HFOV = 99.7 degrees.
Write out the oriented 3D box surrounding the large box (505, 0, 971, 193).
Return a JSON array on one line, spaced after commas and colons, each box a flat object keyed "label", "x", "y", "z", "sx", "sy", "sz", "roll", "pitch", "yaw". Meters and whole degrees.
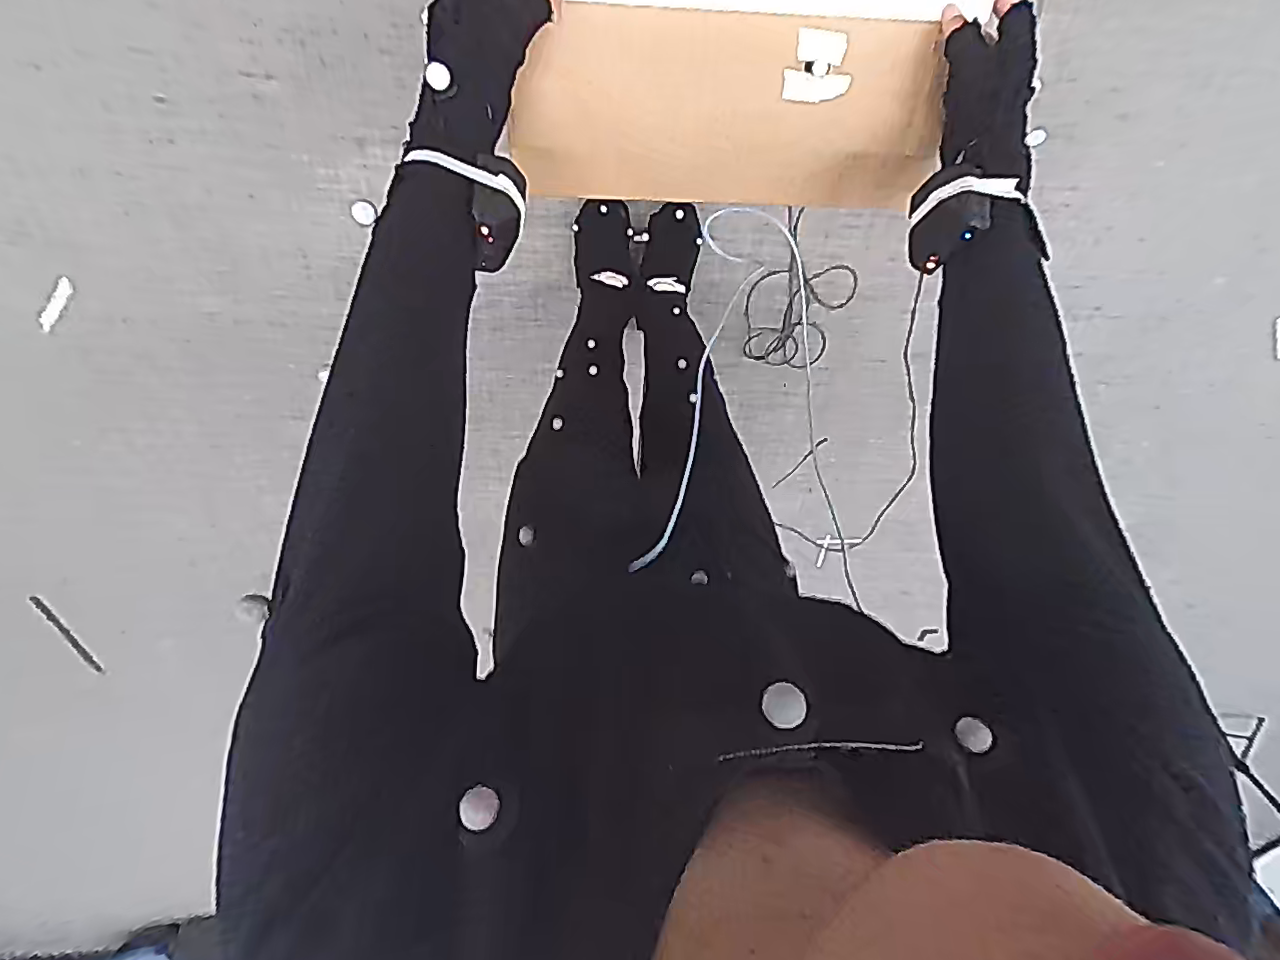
[{"label": "large box", "x": 0.076, "y": -0.508, "z": 0.559, "sx": 0.408, "sy": 0.320, "sz": 0.320, "roll": 0, "pitch": 132, "yaw": -5}]
